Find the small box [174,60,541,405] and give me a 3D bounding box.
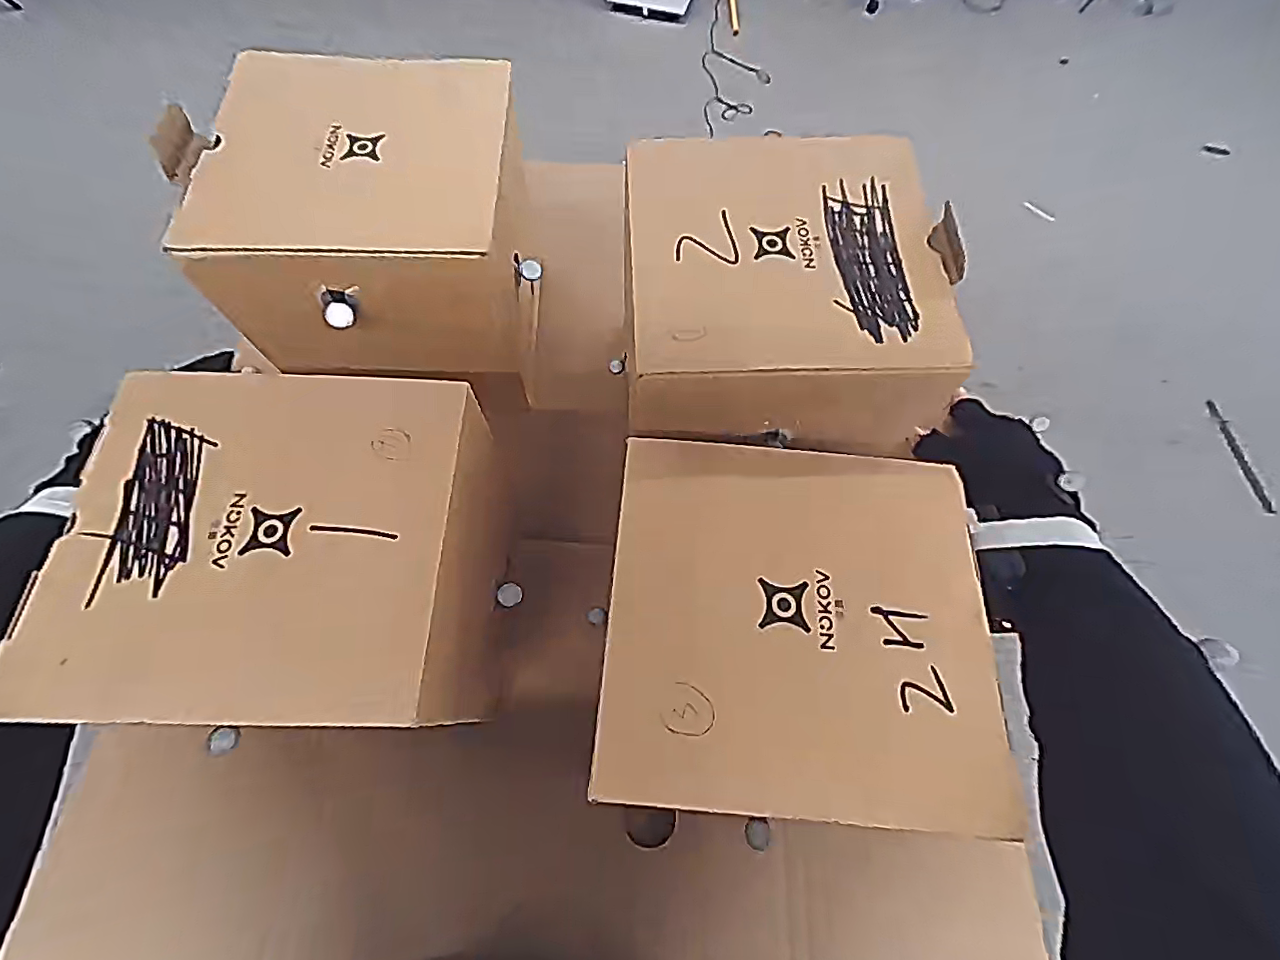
[{"bbox_3d":[-0.173,-0.167,0.403,0.179,0.176,0.168,0,67,-1],"label":"small box"}]
